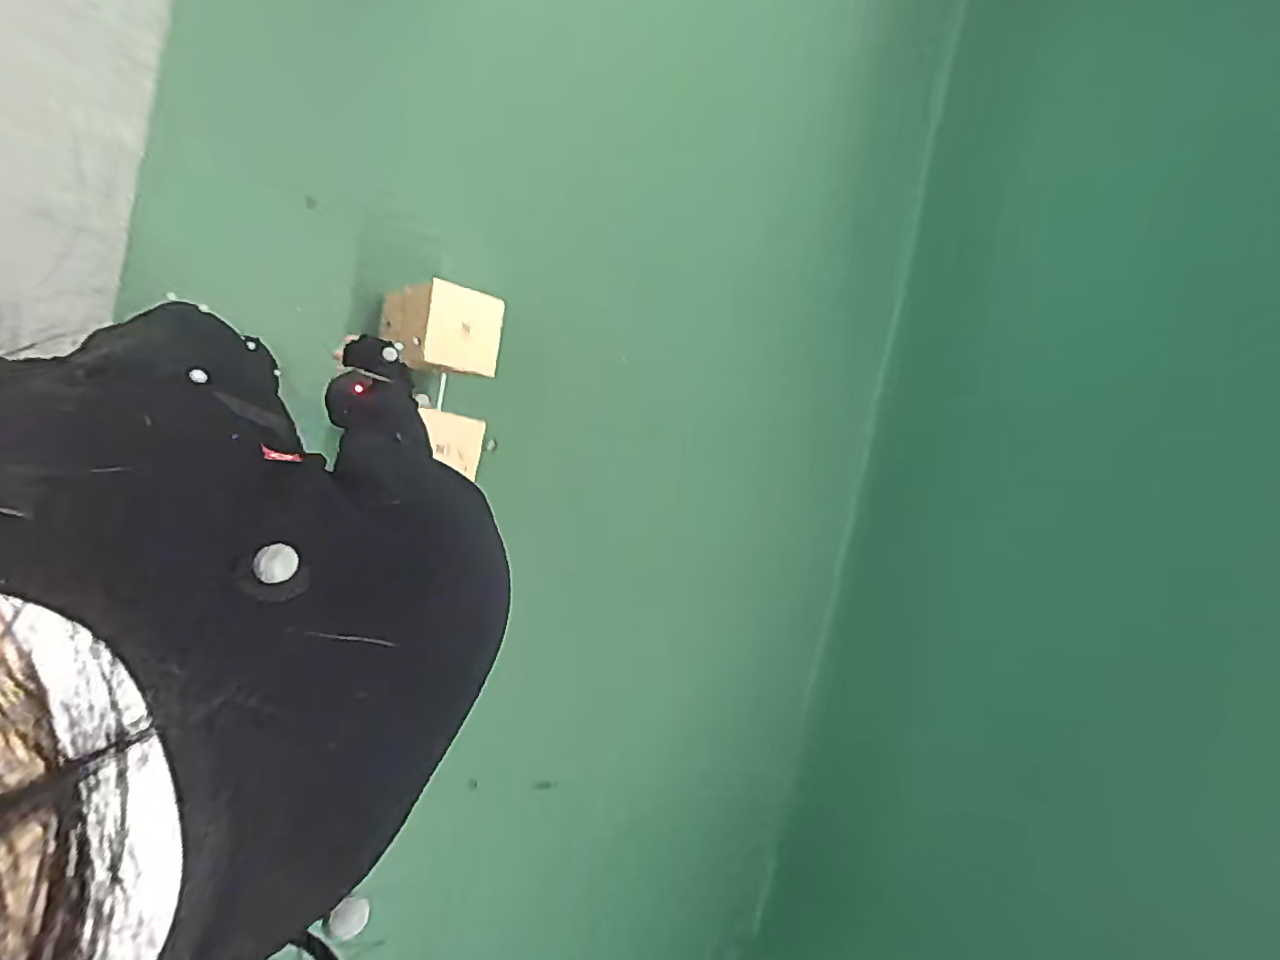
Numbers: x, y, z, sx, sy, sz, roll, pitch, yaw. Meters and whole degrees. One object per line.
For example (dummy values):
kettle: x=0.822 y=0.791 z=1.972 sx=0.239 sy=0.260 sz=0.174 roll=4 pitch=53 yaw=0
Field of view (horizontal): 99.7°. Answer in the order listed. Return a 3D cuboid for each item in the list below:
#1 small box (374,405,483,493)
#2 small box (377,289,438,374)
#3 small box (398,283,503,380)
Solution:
small box: x=-0.496 y=-0.075 z=1.258 sx=0.179 sy=0.176 sz=0.168 roll=12 pitch=92 yaw=-42
small box: x=-0.548 y=-0.367 z=1.371 sx=0.179 sy=0.176 sz=0.168 roll=9 pitch=93 yaw=-41
small box: x=-0.442 y=-0.337 z=1.251 sx=0.168 sy=0.176 sz=0.179 roll=7 pitch=96 yaw=-42
